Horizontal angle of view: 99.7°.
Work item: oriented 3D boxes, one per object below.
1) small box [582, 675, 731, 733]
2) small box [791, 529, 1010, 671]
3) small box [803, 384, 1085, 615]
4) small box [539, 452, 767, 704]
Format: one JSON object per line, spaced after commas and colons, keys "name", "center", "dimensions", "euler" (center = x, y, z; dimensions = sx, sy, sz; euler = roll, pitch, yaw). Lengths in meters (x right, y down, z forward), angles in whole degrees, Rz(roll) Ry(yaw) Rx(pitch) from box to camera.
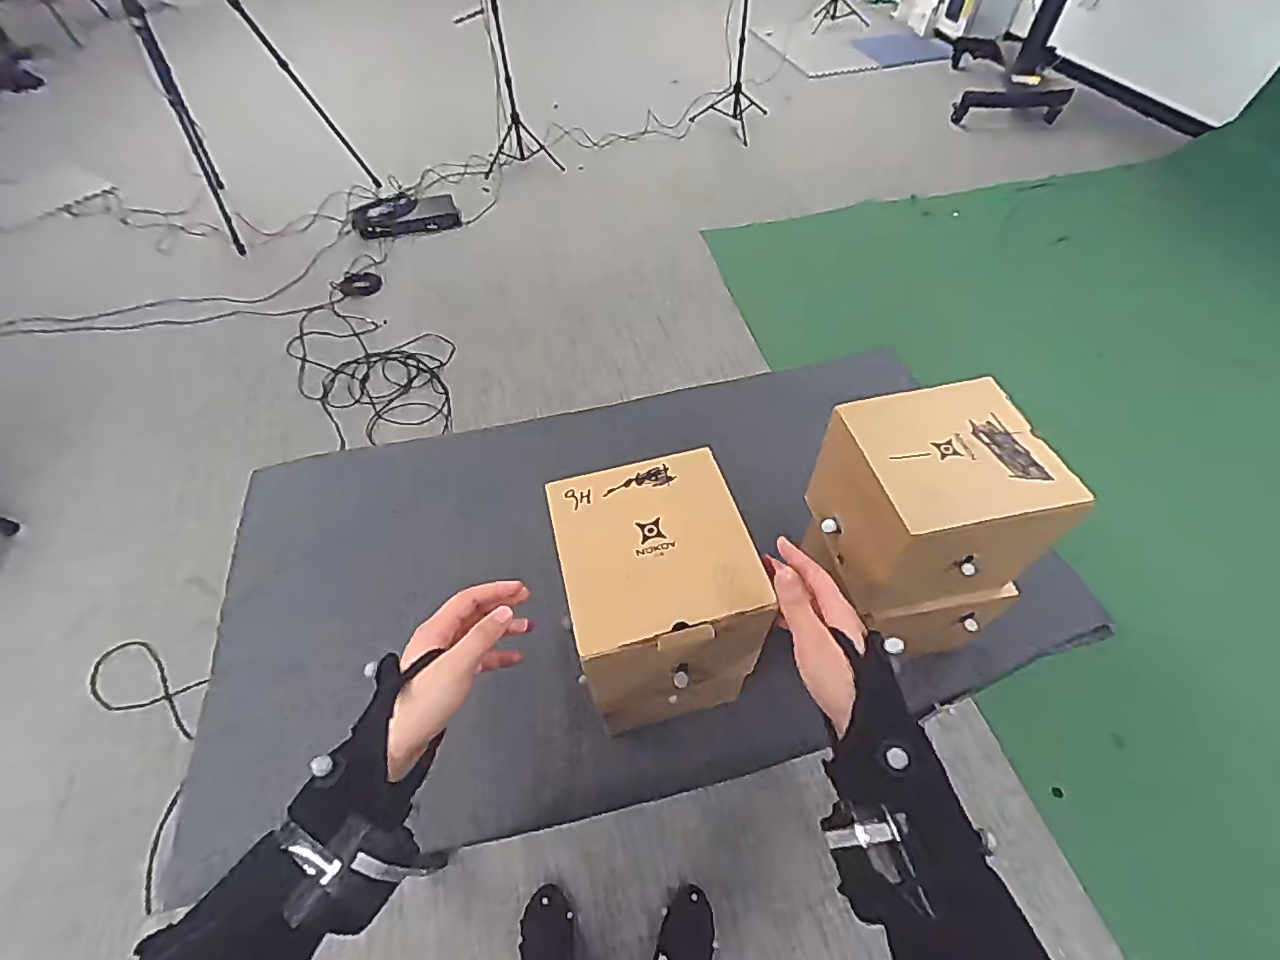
{"name": "small box", "center": [0.010, 0.193, 0.667], "dimensions": [0.179, 0.176, 0.168], "euler": [-12, 54, -9]}
{"name": "small box", "center": [0.317, 0.131, 0.702], "dimensions": [0.179, 0.176, 0.168], "euler": [-9, 52, -4]}
{"name": "small box", "center": [0.297, 0.025, 0.578], "dimensions": [0.179, 0.176, 0.168], "euler": [-10, 52, -4]}
{"name": "small box", "center": [0.007, 0.104, 0.530], "dimensions": [0.168, 0.176, 0.179], "euler": [-13, 54, -7]}
